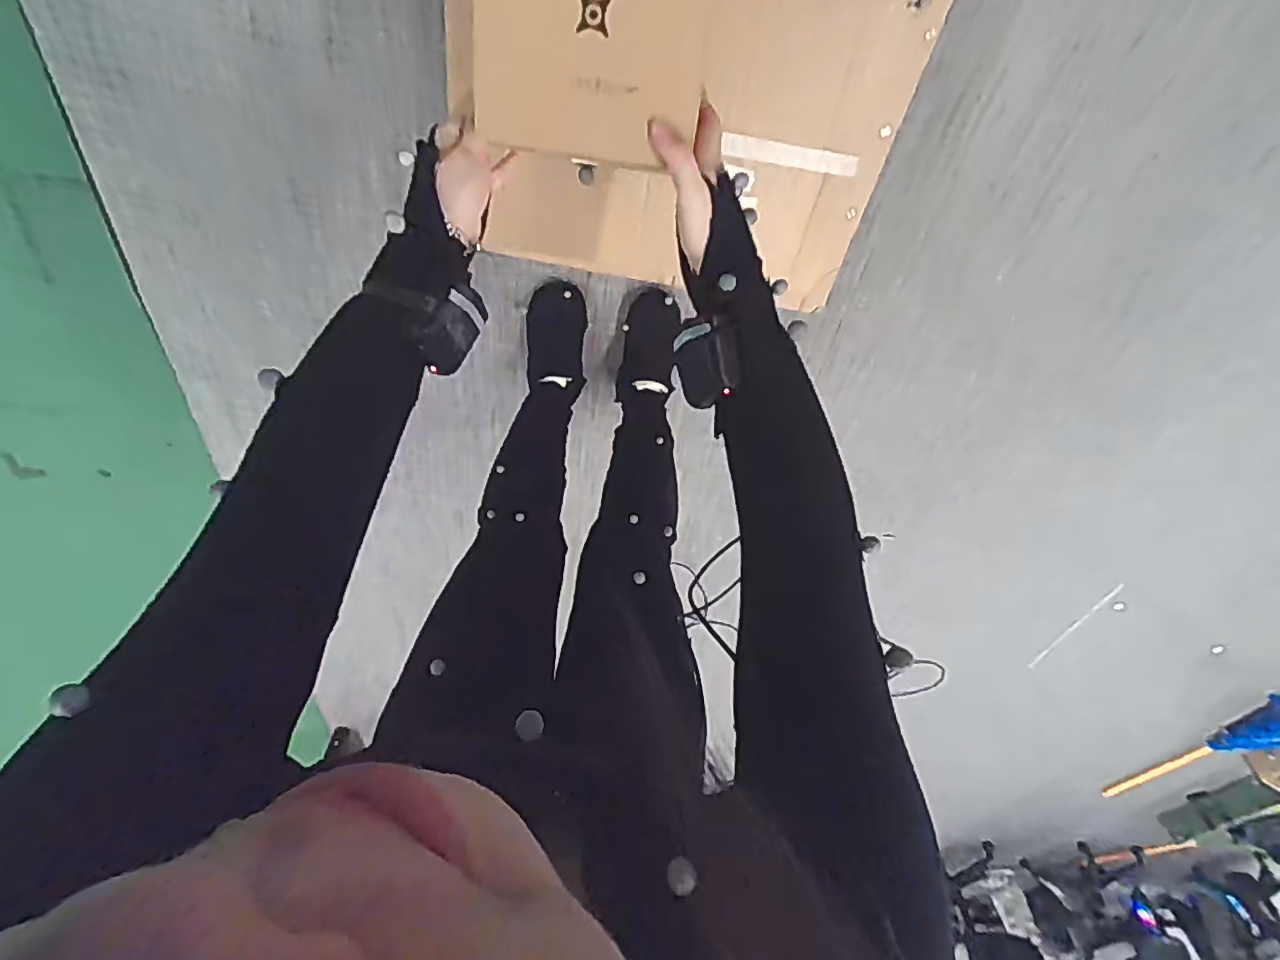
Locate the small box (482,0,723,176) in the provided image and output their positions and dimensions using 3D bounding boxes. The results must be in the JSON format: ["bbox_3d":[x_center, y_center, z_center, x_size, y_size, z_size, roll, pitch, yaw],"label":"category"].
[{"bbox_3d":[-0.025,-0.360,0.440,0.168,0.176,0.179,7,118,-2],"label":"small box"}]

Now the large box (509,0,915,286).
[{"bbox_3d":[0.048,-0.484,0.710,0.408,0.320,0.320,6,130,-8],"label":"large box"}]
